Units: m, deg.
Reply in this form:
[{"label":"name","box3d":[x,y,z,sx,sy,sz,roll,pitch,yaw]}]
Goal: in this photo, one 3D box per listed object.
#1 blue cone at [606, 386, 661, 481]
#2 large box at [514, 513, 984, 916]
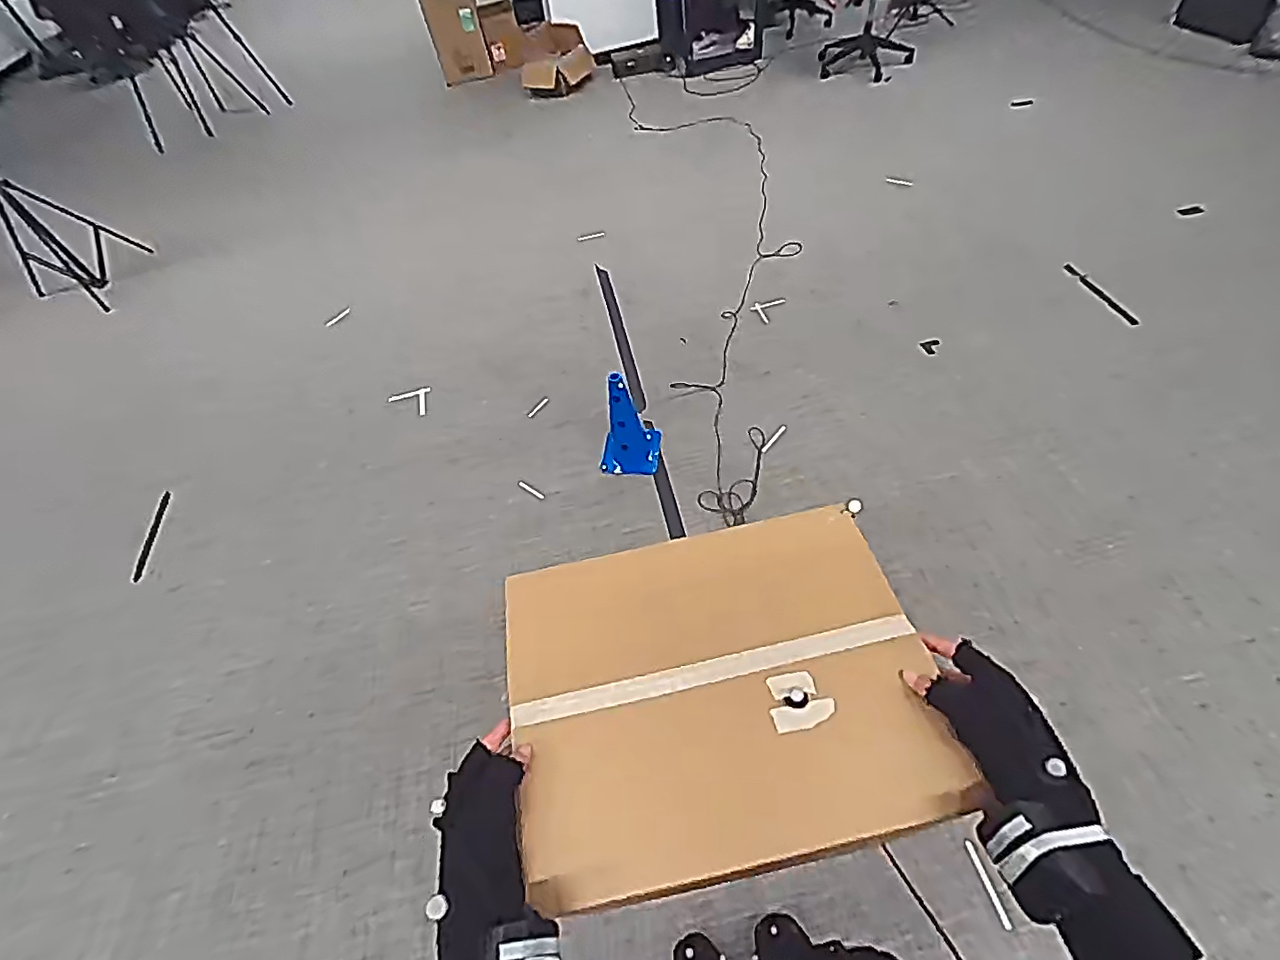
[{"label":"blue cone","box3d":[-0.045,-0.175,1.800,0.193,0.380,0.192,2,54,12]},{"label":"large box","box3d":[0.089,0.290,0.659,0.408,0.320,0.320,-12,51,-2]}]
